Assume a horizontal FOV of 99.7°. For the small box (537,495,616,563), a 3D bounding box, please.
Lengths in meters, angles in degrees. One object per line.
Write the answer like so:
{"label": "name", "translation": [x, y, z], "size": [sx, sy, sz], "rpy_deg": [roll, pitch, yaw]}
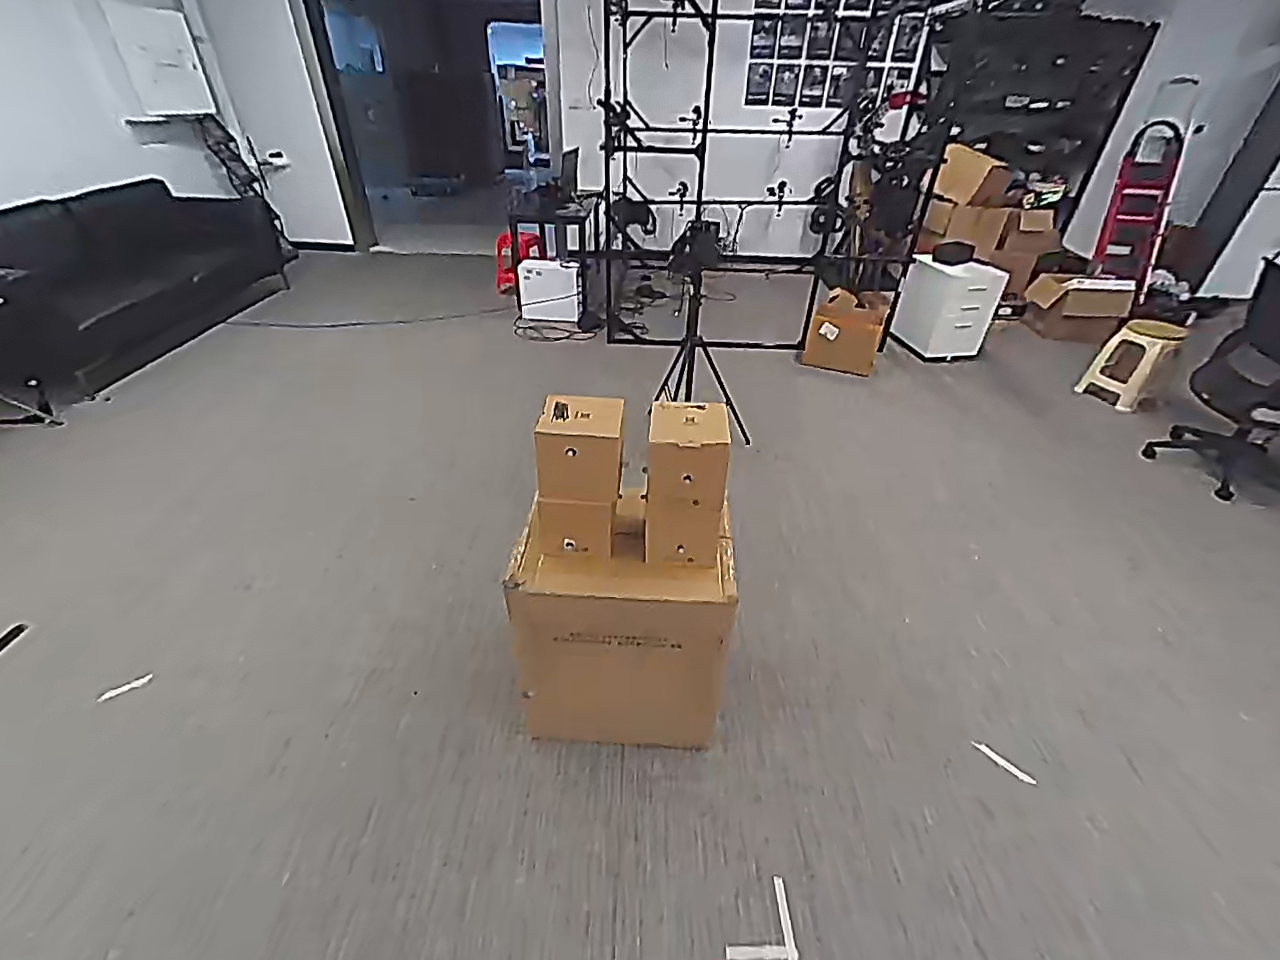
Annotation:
{"label": "small box", "translation": [-0.145, 0.075, 1.297], "size": [0.168, 0.176, 0.179], "rpy_deg": [2, 37, 1]}

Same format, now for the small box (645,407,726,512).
{"label": "small box", "translation": [0.098, -0.045, 1.188], "size": [0.168, 0.176, 0.179], "rpy_deg": [2, 36, 3]}

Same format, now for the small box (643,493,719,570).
{"label": "small box", "translation": [0.093, 0.090, 1.281], "size": [0.168, 0.176, 0.179], "rpy_deg": [1, 36, 2]}

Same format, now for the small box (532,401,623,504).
{"label": "small box", "translation": [-0.132, -0.061, 1.206], "size": [0.179, 0.176, 0.168], "rpy_deg": [3, 36, 0]}
